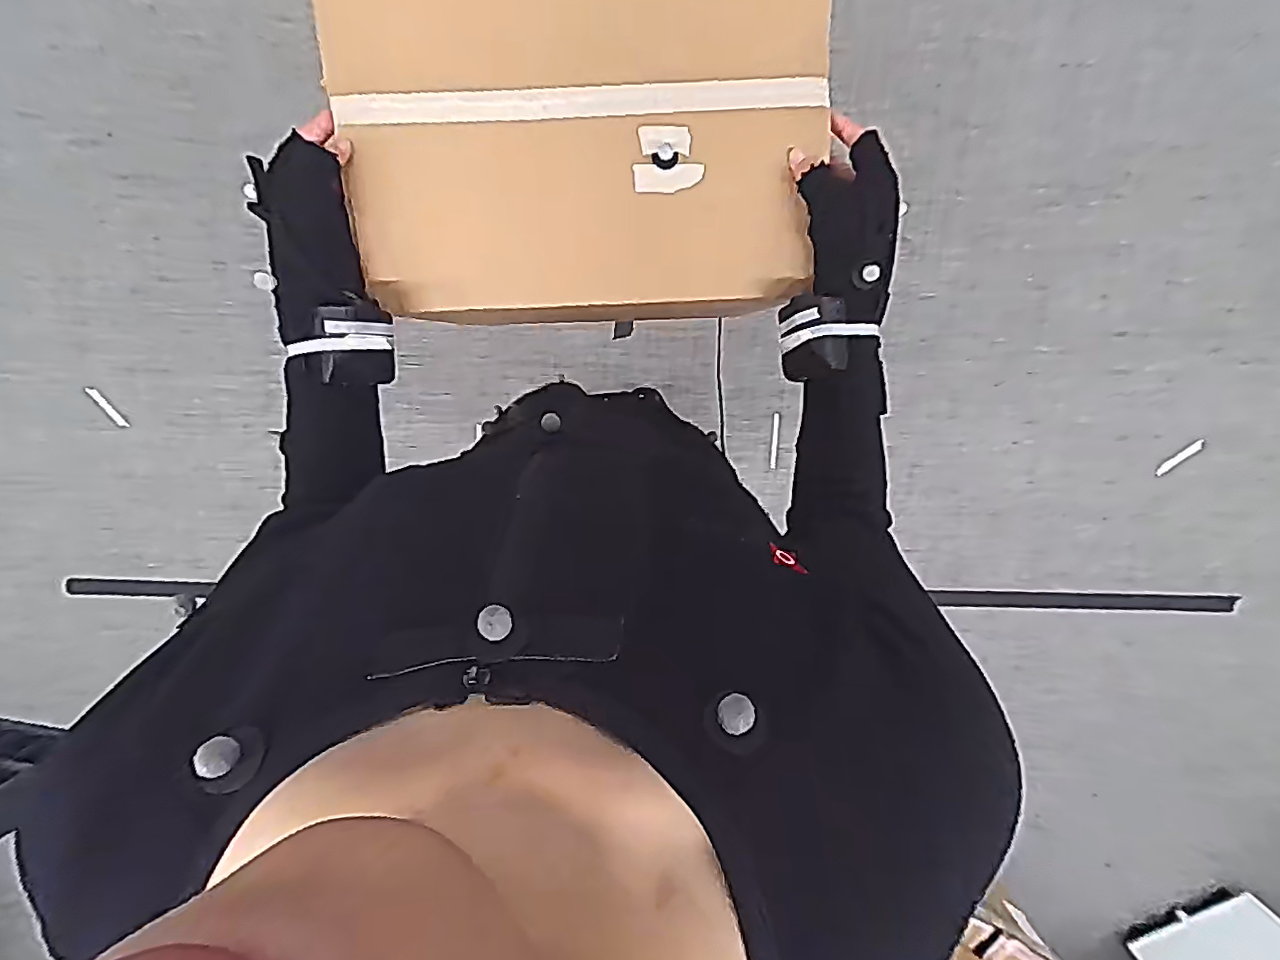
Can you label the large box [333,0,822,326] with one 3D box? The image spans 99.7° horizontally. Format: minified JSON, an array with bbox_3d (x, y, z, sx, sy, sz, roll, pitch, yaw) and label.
[{"bbox_3d":[-0.052,-0.349,0.601,0.408,0.320,0.320,-3,104,-1],"label":"large box"}]
